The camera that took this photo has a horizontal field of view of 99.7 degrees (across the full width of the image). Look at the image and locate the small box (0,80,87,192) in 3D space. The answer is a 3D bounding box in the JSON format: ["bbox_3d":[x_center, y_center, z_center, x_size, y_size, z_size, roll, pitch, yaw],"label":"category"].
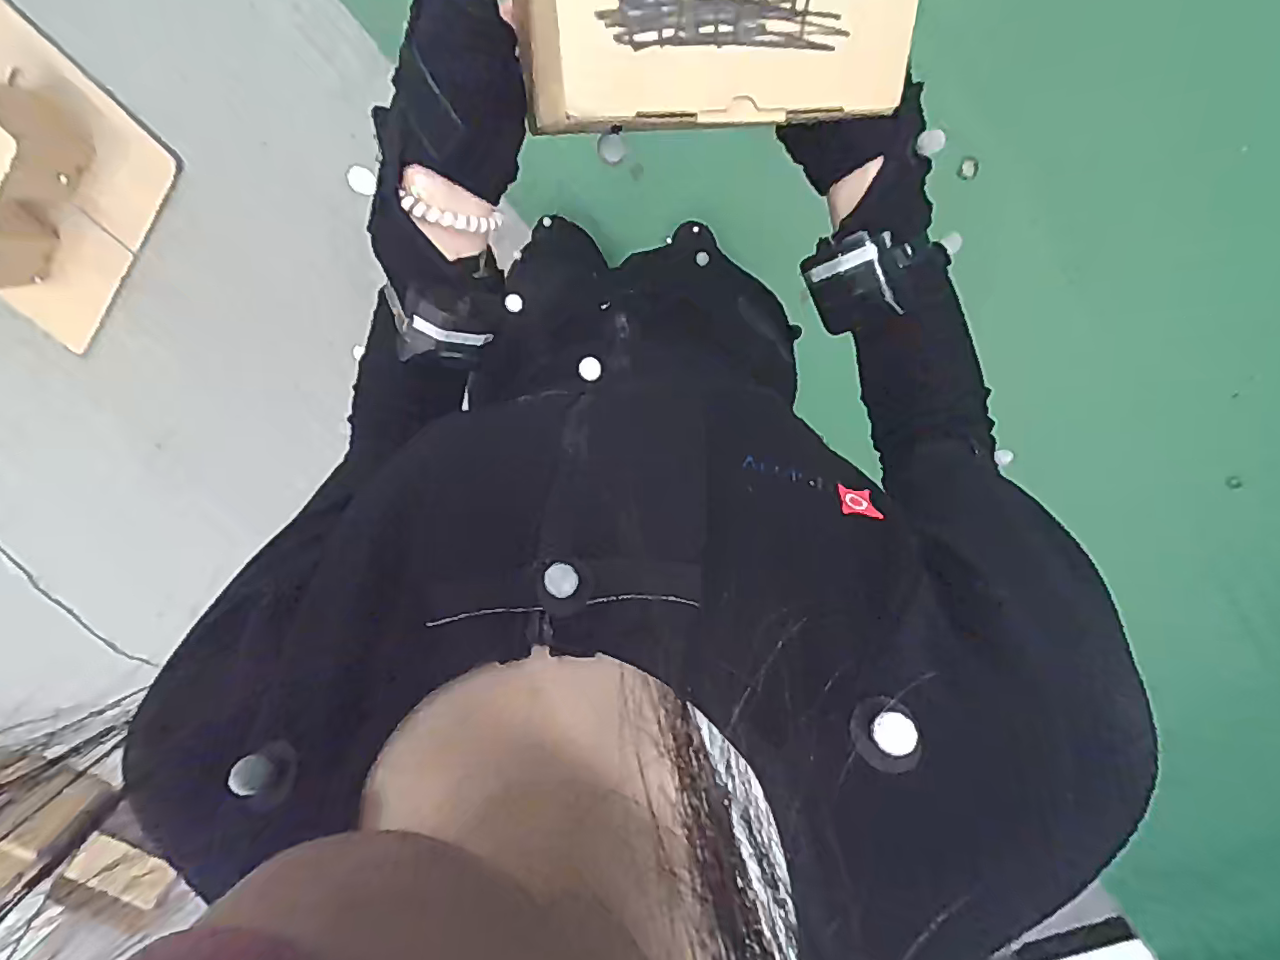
[{"bbox_3d":[-1.449,-0.784,1.230,0.168,0.176,0.179,-35,108,20],"label":"small box"}]

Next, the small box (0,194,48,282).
[{"bbox_3d":[-1.640,-0.606,1.329,0.179,0.176,0.168,43,112,-14],"label":"small box"}]
